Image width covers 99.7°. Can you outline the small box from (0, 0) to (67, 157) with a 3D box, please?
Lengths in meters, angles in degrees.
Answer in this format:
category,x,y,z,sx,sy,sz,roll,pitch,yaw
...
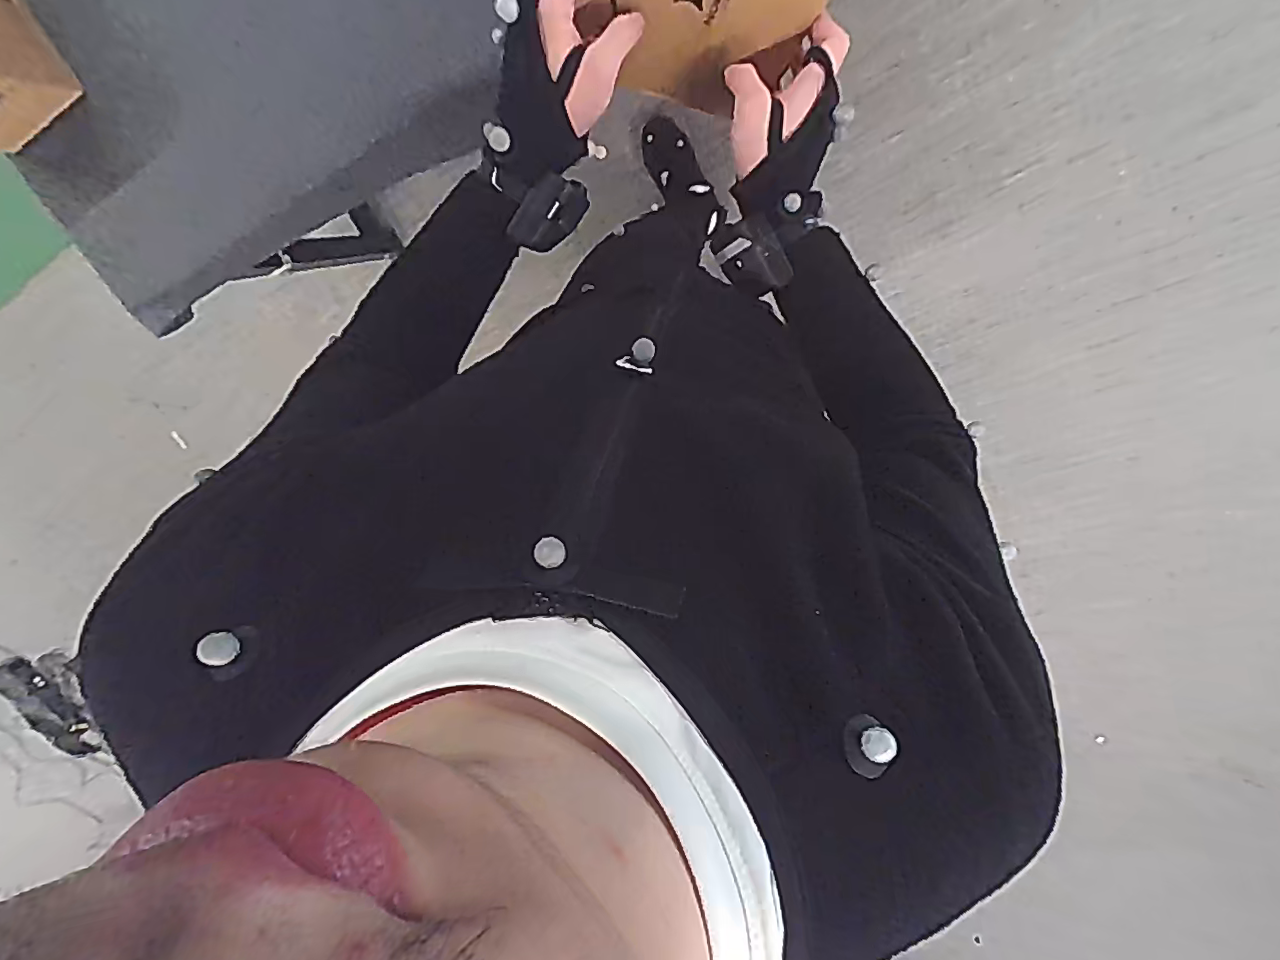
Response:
category,x,y,z,sx,sy,sz,roll,pitch,yaw
small box,-0.863,-0.515,0.644,0.179,0.176,0.168,-17,110,17

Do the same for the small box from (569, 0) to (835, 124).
category,x,y,z,sx,sy,sz,roll,pitch,yaw
small box,0.048,-0.423,0.409,0.179,0.168,0.176,3,75,-19
